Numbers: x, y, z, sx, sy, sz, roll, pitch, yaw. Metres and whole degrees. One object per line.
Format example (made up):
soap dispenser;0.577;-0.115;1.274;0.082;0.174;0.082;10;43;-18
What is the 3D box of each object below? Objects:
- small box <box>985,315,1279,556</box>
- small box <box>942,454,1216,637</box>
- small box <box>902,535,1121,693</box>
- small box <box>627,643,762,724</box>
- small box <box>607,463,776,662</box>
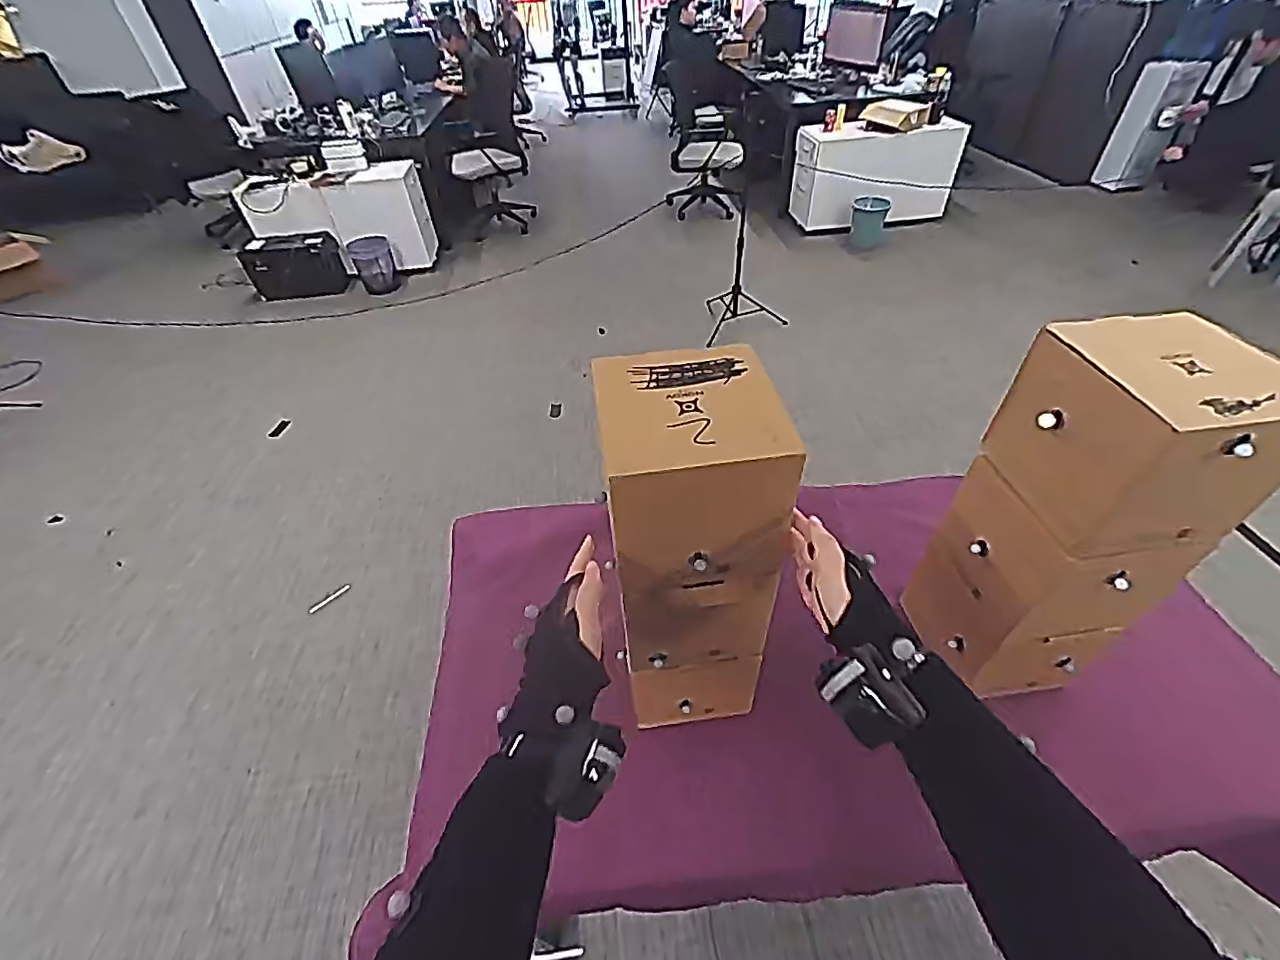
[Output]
small box;0.500;-0.047;0.552;0.168;0.176;0.179;-6;44;-3
small box;0.503;0.075;0.662;0.179;0.176;0.168;-7;45;-4
small box;0.511;0.190;0.779;0.168;0.176;0.179;-6;44;-3
small box;0.063;0.224;0.778;0.168;0.176;0.179;-7;45;-3
small box;0.054;0.106;0.664;0.168;0.176;0.179;-7;44;-4
